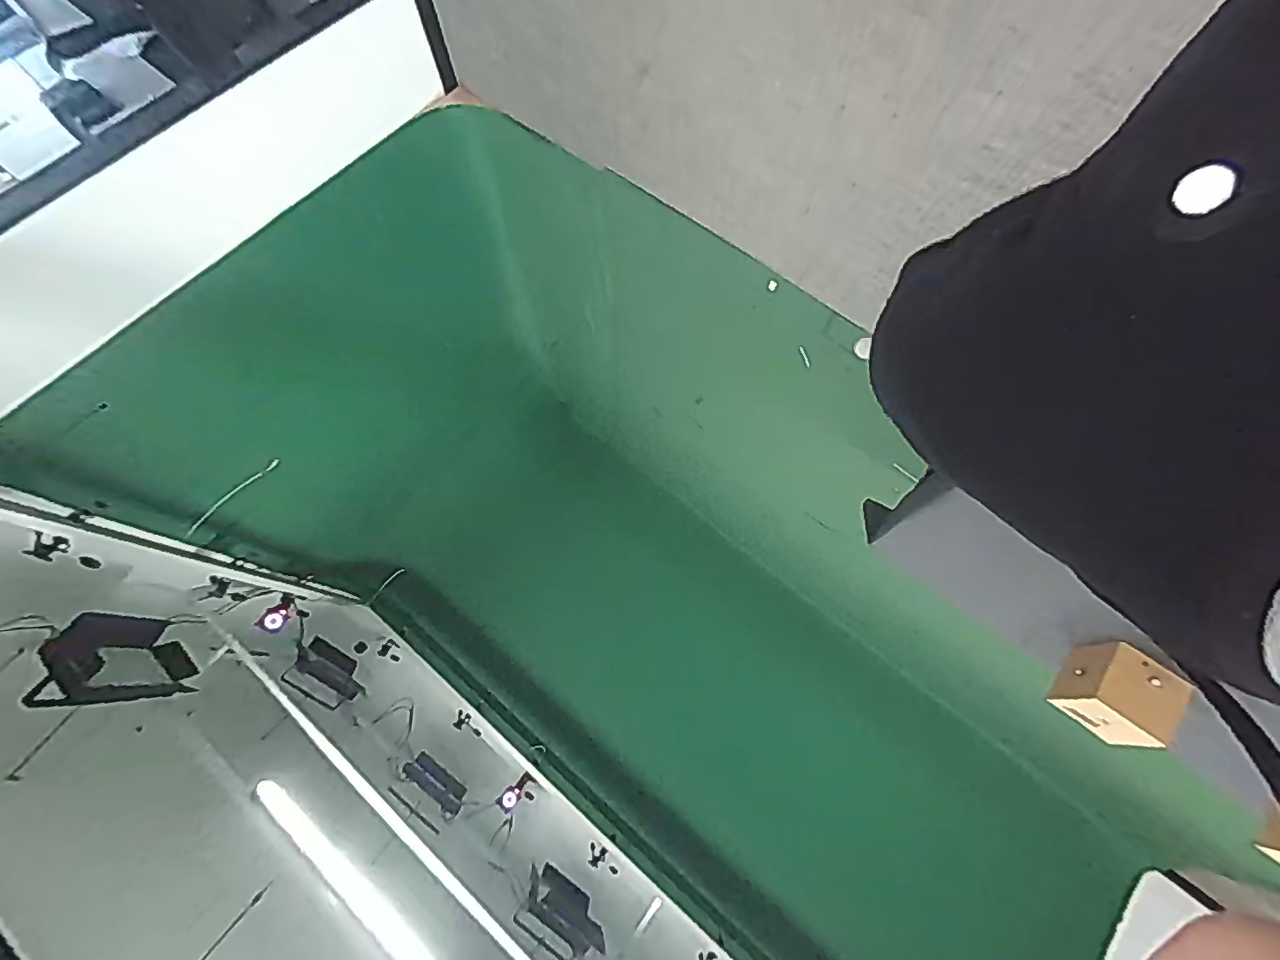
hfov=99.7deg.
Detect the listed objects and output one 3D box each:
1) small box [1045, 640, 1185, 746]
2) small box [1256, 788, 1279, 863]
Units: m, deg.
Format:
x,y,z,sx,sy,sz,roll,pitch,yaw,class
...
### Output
x,y,z,sx,sy,sz,roll,pitch,yaw,class
1.151,0.513,1.314,0.168,0.176,0.179,37,163,15,small box
1.537,0.801,1.179,0.168,0.176,0.179,37,163,18,small box
